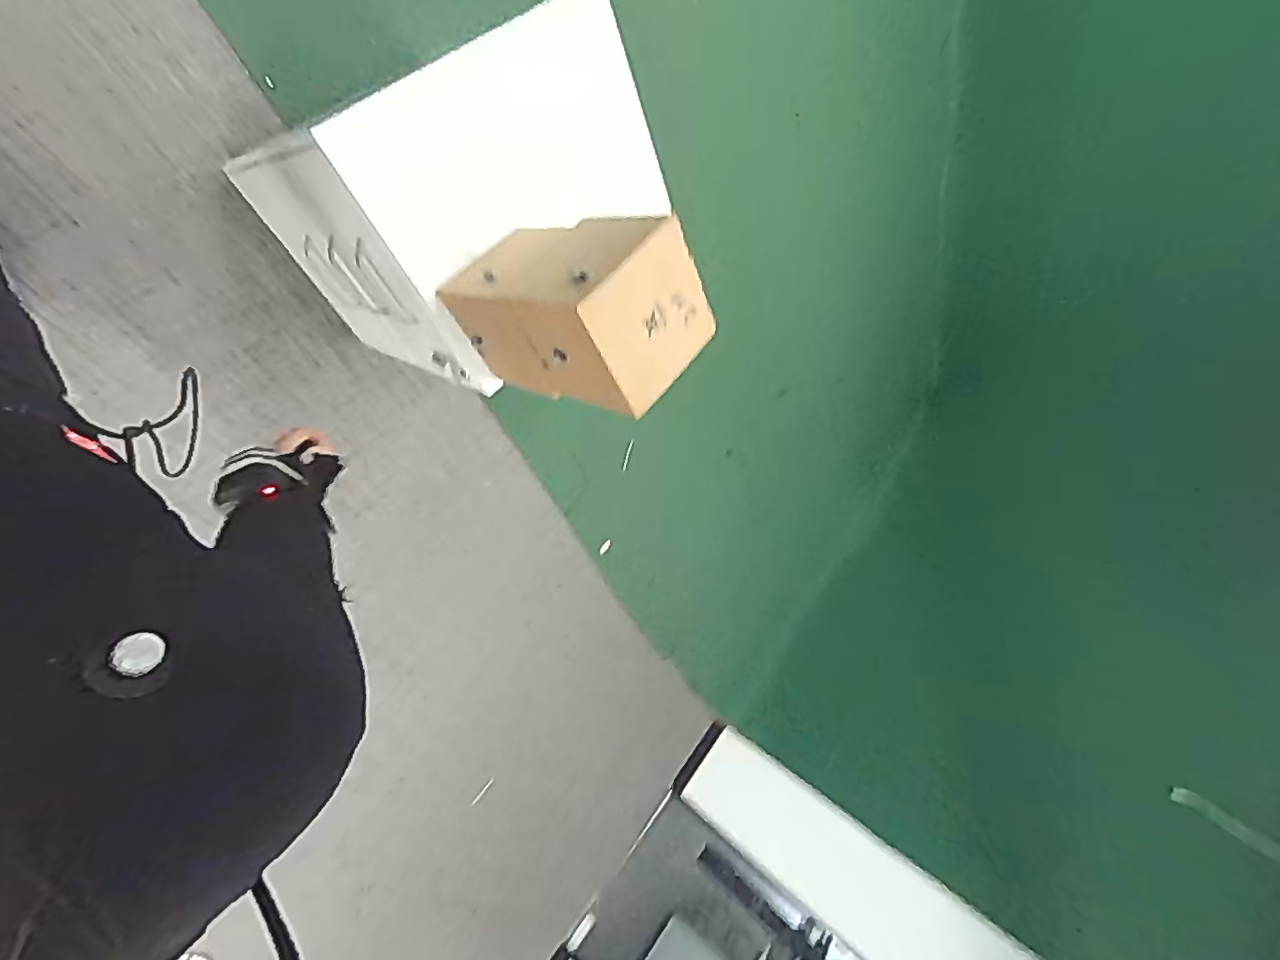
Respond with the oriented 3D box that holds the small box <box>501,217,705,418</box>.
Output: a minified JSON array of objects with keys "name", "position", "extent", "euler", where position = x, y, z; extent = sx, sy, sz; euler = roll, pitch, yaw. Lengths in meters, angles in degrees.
[{"name":"small box","position":[-0.051,-0.210,0.689],"extent":[0.179,0.176,0.168],"euler":[-50,138,-19]}]
